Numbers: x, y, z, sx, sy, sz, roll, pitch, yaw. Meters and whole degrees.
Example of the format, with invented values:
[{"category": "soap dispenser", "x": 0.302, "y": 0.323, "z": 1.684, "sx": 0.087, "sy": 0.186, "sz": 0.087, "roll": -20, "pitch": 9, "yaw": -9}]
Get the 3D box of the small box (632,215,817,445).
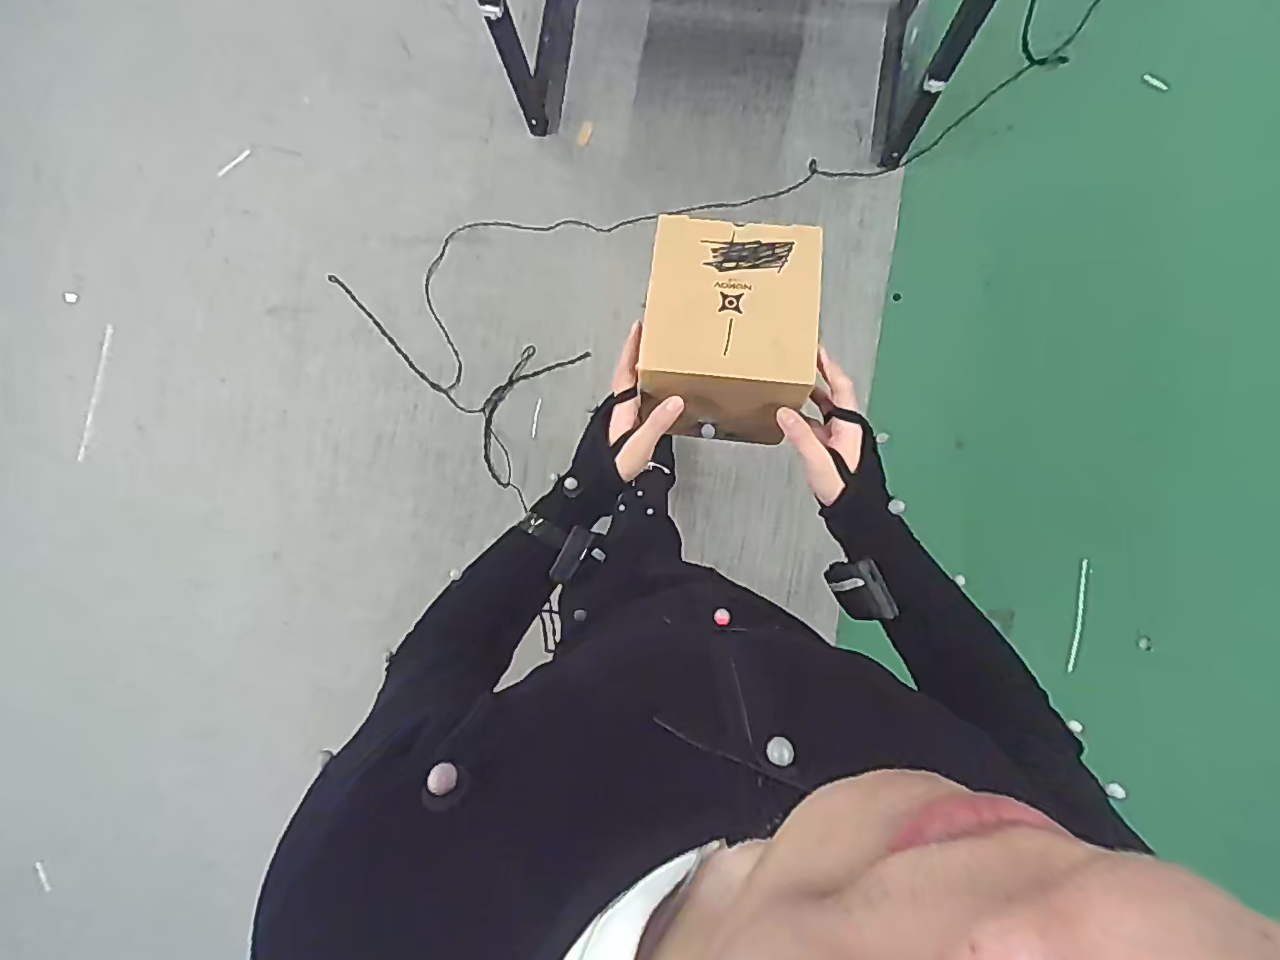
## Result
[{"category": "small box", "x": 0.086, "y": -0.155, "z": 0.598, "sx": 0.168, "sy": 0.176, "sz": 0.179, "roll": 7, "pitch": 75, "yaw": 5}]
